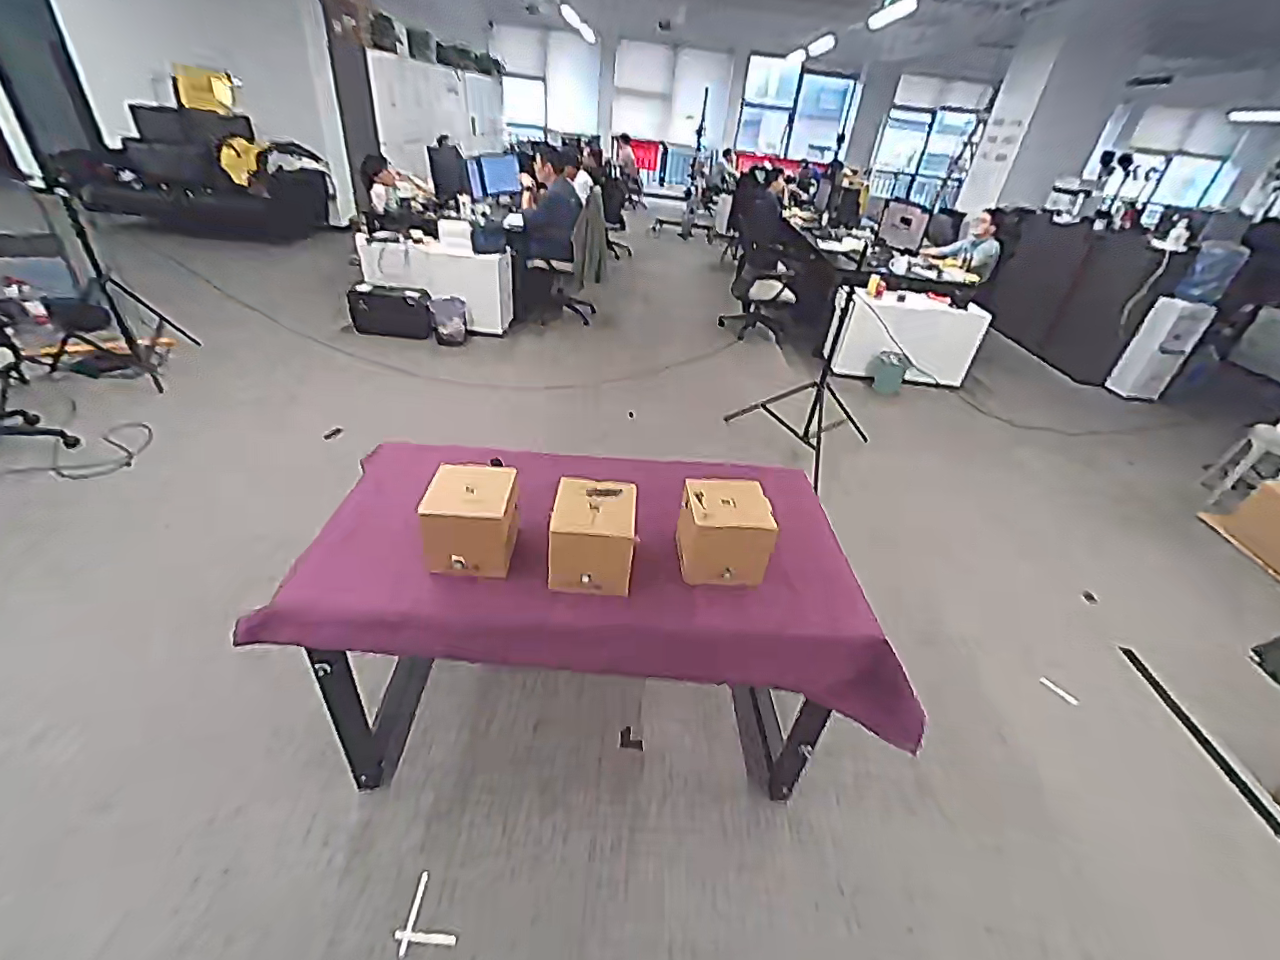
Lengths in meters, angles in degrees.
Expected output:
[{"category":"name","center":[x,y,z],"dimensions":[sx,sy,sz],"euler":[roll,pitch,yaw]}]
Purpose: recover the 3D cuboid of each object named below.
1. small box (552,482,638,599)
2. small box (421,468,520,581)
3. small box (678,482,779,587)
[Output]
[{"category":"small box","center":[-0.095,0.127,1.150],"dimensions":[0.168,0.176,0.179],"euler":[5,34,-2]},{"category":"small box","center":[-0.352,0.092,1.159],"dimensions":[0.168,0.176,0.179],"euler":[2,34,-4]},{"category":"small box","center":[0.188,0.123,1.206],"dimensions":[0.179,0.176,0.168],"euler":[3,33,-6]}]
